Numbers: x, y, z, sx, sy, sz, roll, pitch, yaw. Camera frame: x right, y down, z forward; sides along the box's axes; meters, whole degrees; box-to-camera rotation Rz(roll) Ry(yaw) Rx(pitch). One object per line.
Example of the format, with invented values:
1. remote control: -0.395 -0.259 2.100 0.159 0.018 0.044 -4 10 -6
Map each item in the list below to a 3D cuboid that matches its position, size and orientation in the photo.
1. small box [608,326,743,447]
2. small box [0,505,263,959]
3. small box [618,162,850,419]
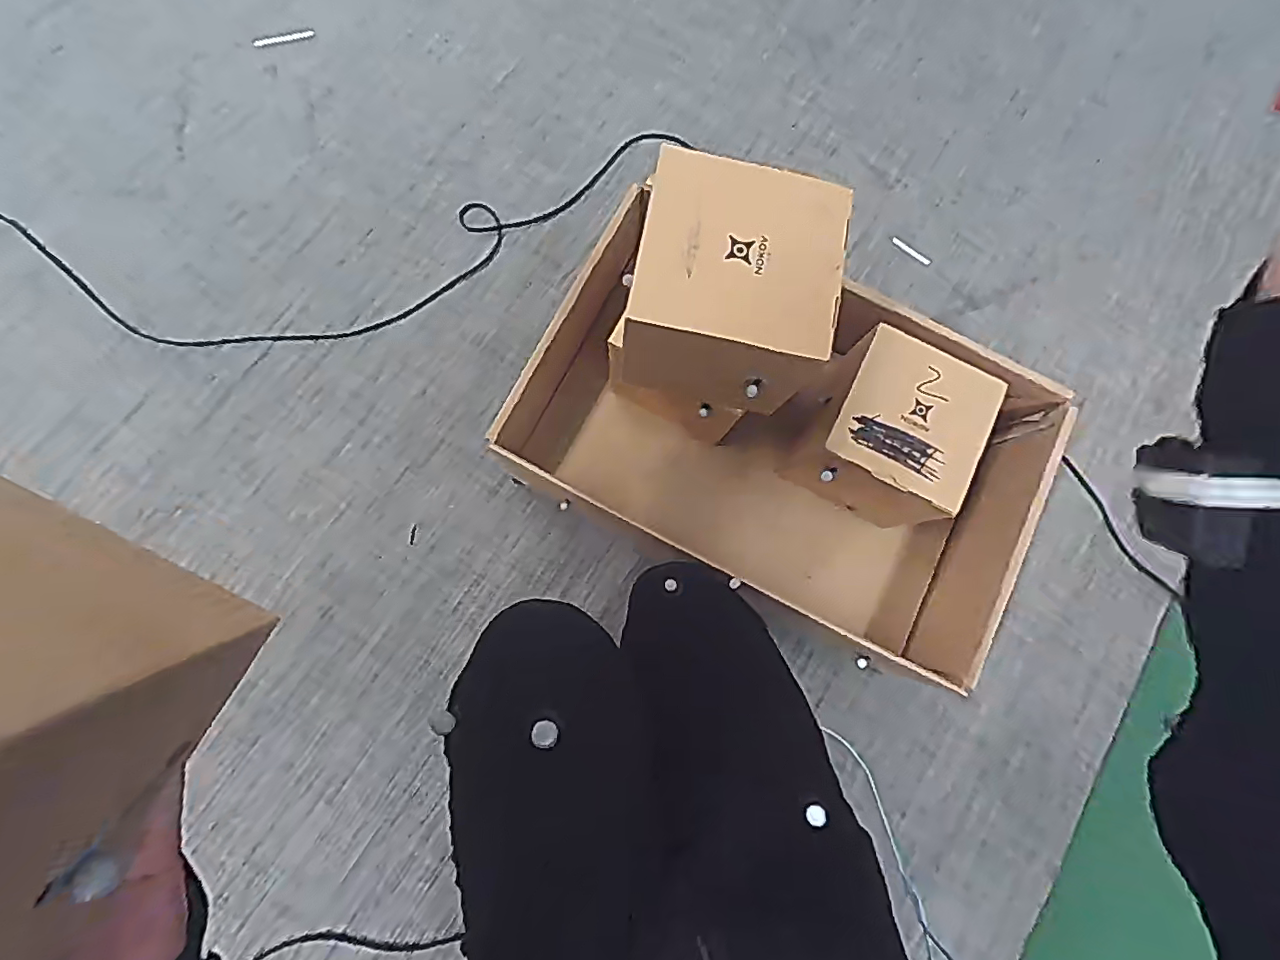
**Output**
1. small box: 0.070 -0.160 0.700 0.179 0.176 0.168 28 81 0
2. small box: -0.267 0.098 0.152 0.179 0.176 0.168 31 83 -8
3. small box: 0.079 -0.168 0.537 0.179 0.176 0.168 12 81 -1
